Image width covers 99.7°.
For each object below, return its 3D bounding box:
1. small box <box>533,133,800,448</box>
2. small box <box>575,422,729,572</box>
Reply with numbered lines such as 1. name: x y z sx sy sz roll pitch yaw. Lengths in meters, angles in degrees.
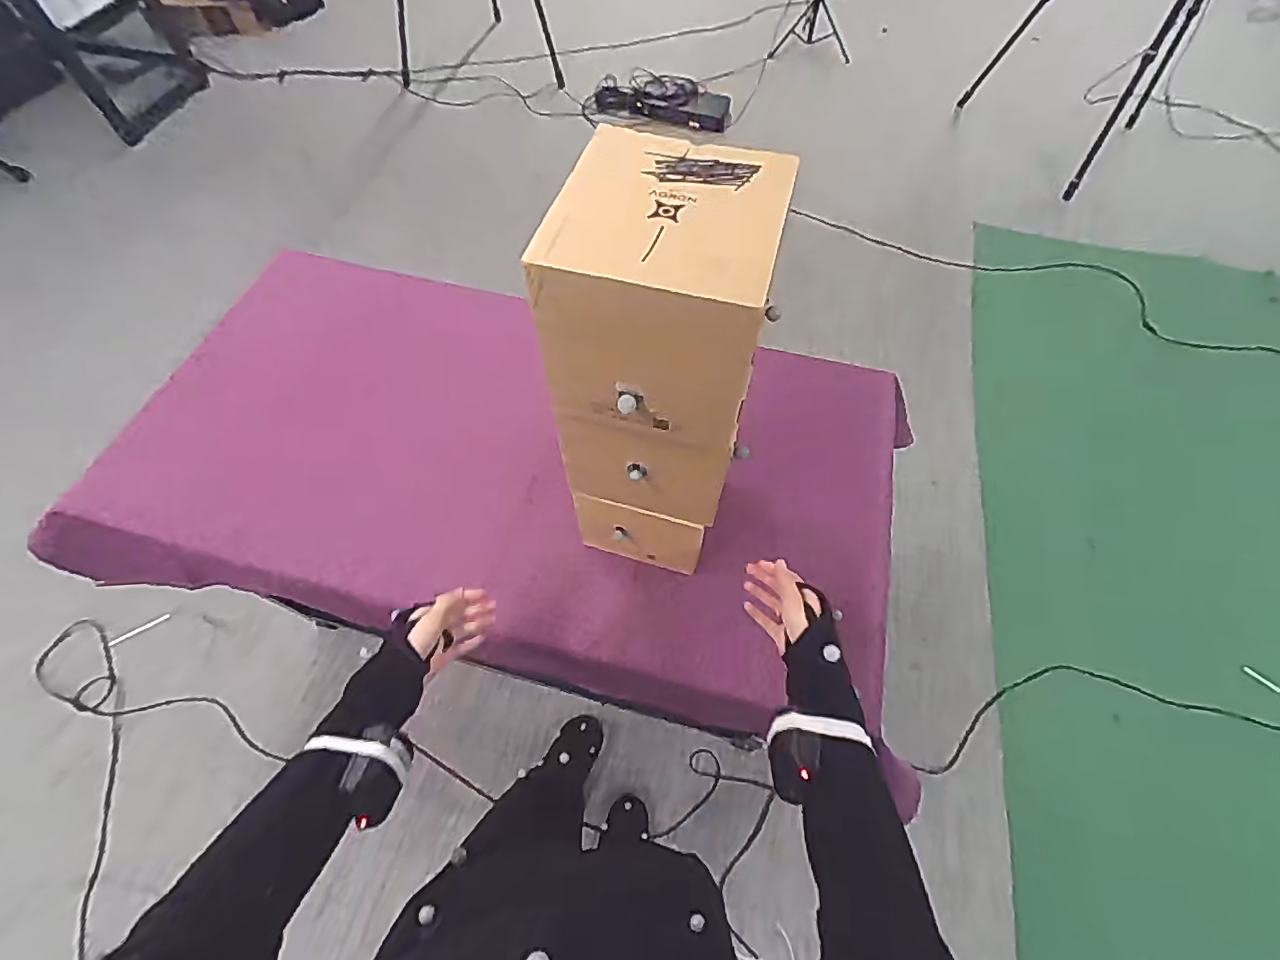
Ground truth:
1. small box: 0.025 -0.156 0.466 0.168 0.176 0.179 14 61 8
2. small box: 0.023 0.008 0.751 0.168 0.176 0.179 15 60 8
